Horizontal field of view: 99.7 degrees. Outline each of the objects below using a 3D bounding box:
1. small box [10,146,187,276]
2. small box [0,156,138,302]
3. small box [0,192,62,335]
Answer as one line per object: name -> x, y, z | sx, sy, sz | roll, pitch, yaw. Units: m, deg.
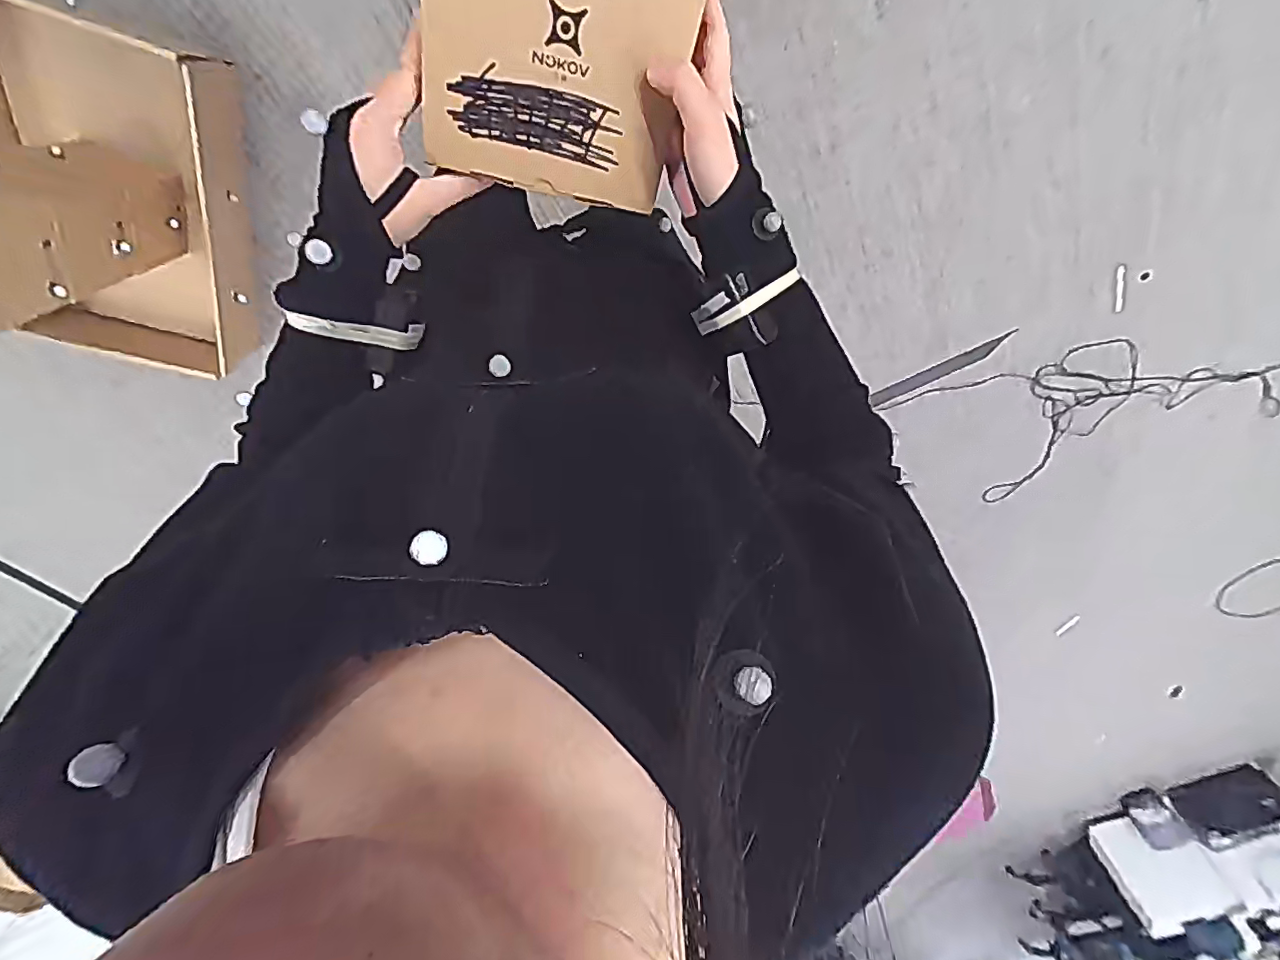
small box -> -1.039, -0.530, 1.057 | 0.179, 0.176, 0.168 | 15, 124, -16
small box -> -1.027, -0.435, 0.927 | 0.179, 0.176, 0.168 | 14, 125, -16
small box -> -1.019, -0.336, 0.795 | 0.179, 0.176, 0.168 | 14, 124, -14
